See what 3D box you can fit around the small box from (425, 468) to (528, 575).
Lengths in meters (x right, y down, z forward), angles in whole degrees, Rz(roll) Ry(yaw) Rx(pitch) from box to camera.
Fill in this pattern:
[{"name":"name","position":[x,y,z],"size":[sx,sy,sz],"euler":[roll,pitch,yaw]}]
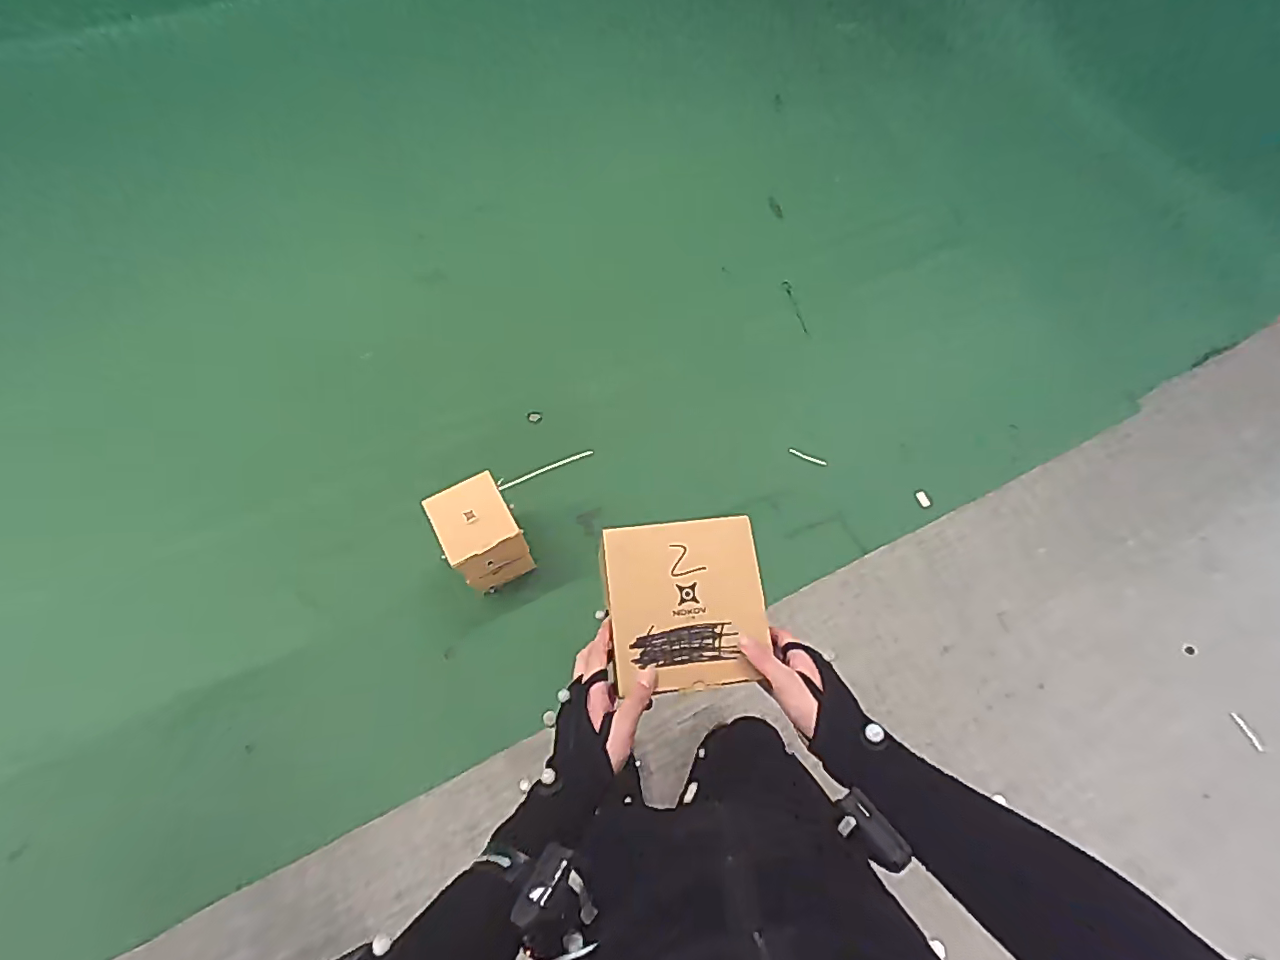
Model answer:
[{"name":"small box","position":[-0.385,0.105,1.297],"size":[0.168,0.176,0.179],"euler":[-27,74,-14]}]

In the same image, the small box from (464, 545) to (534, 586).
[{"name":"small box","position":[-0.396,0.170,1.446],"size":[0.168,0.176,0.179],"euler":[-26,73,-13]}]
